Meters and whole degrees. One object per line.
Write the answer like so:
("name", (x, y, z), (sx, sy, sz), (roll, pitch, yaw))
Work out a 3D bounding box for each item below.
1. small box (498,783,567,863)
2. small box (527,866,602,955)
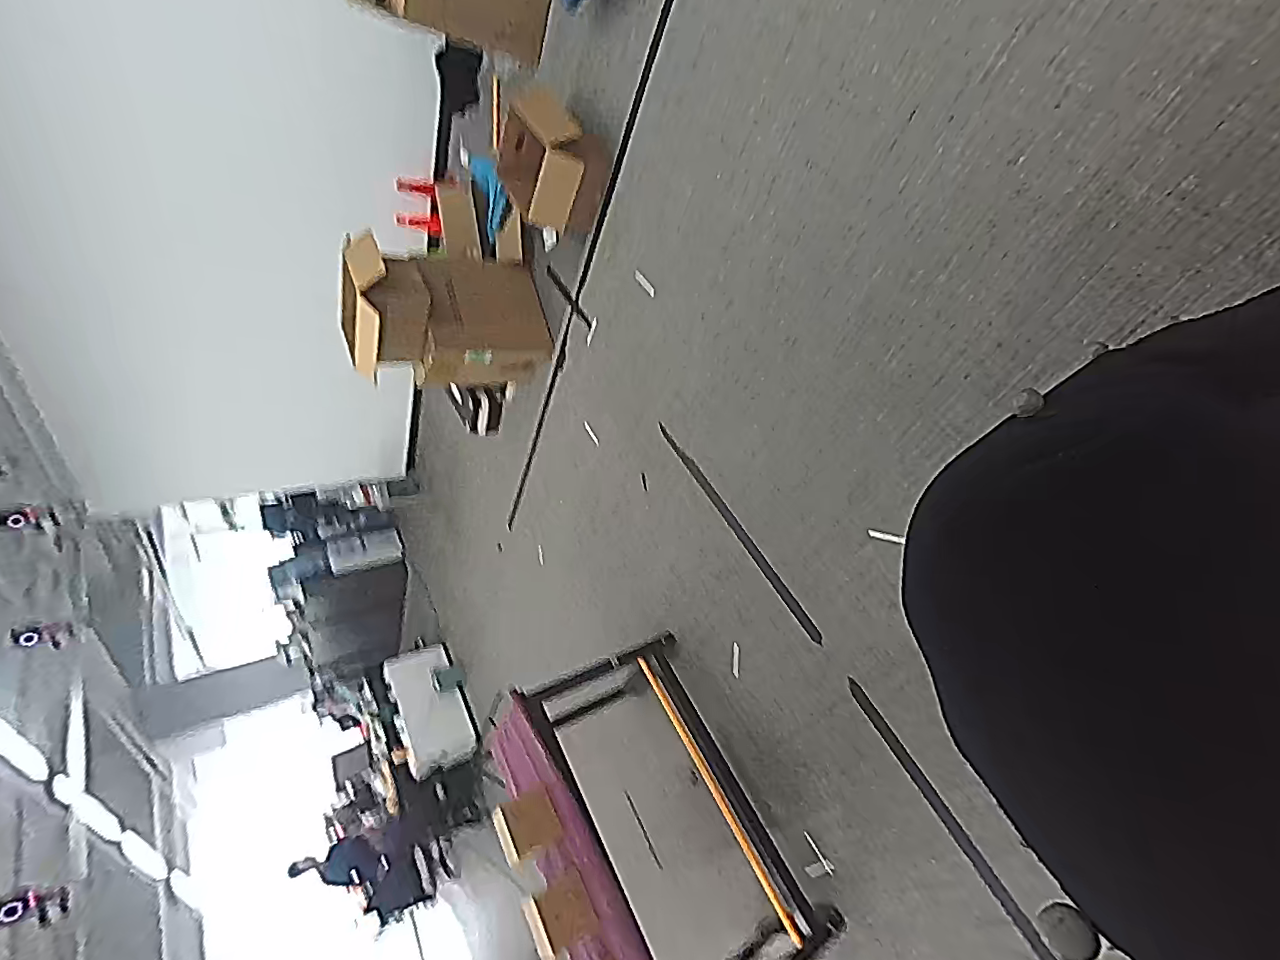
("small box", (-0.381, 1.200, 1.907), (0.179, 0.176, 0.168), (56, 141, 29))
("small box", (-0.251, 1.417, 1.790), (0.179, 0.176, 0.168), (56, 139, 28))
